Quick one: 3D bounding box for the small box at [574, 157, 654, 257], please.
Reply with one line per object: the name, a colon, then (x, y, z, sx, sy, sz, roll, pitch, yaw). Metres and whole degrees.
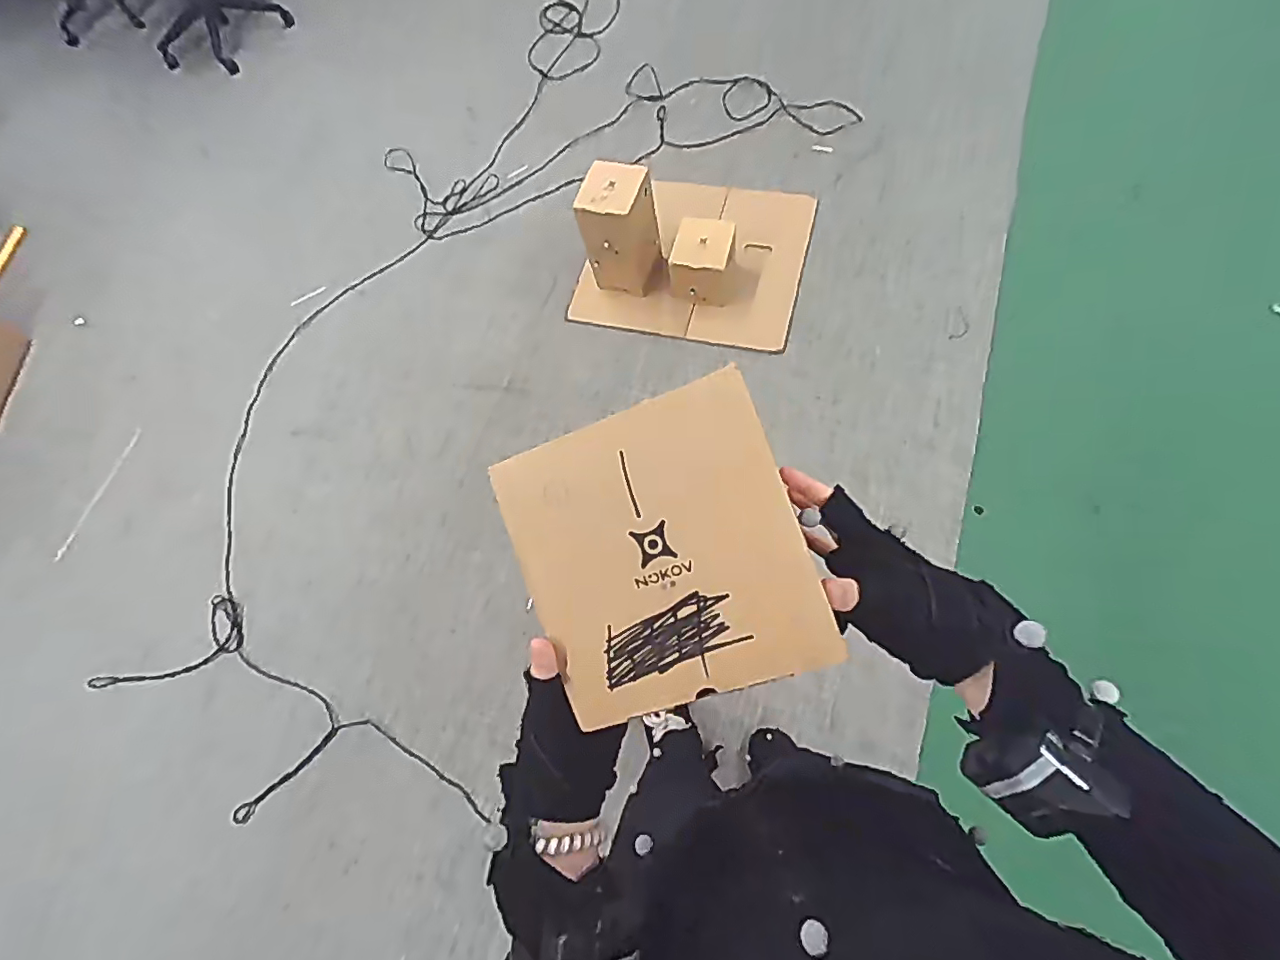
small box: (-0.064, -0.771, 1.533, 0.168, 0.176, 0.179, 16, 74, 15)

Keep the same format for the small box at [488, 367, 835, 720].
small box: (0.026, 0.037, 0.393, 0.168, 0.176, 0.179, -21, 89, 14)

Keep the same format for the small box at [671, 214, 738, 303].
small box: (0.196, -0.668, 1.637, 0.168, 0.176, 0.179, 12, 73, 12)
